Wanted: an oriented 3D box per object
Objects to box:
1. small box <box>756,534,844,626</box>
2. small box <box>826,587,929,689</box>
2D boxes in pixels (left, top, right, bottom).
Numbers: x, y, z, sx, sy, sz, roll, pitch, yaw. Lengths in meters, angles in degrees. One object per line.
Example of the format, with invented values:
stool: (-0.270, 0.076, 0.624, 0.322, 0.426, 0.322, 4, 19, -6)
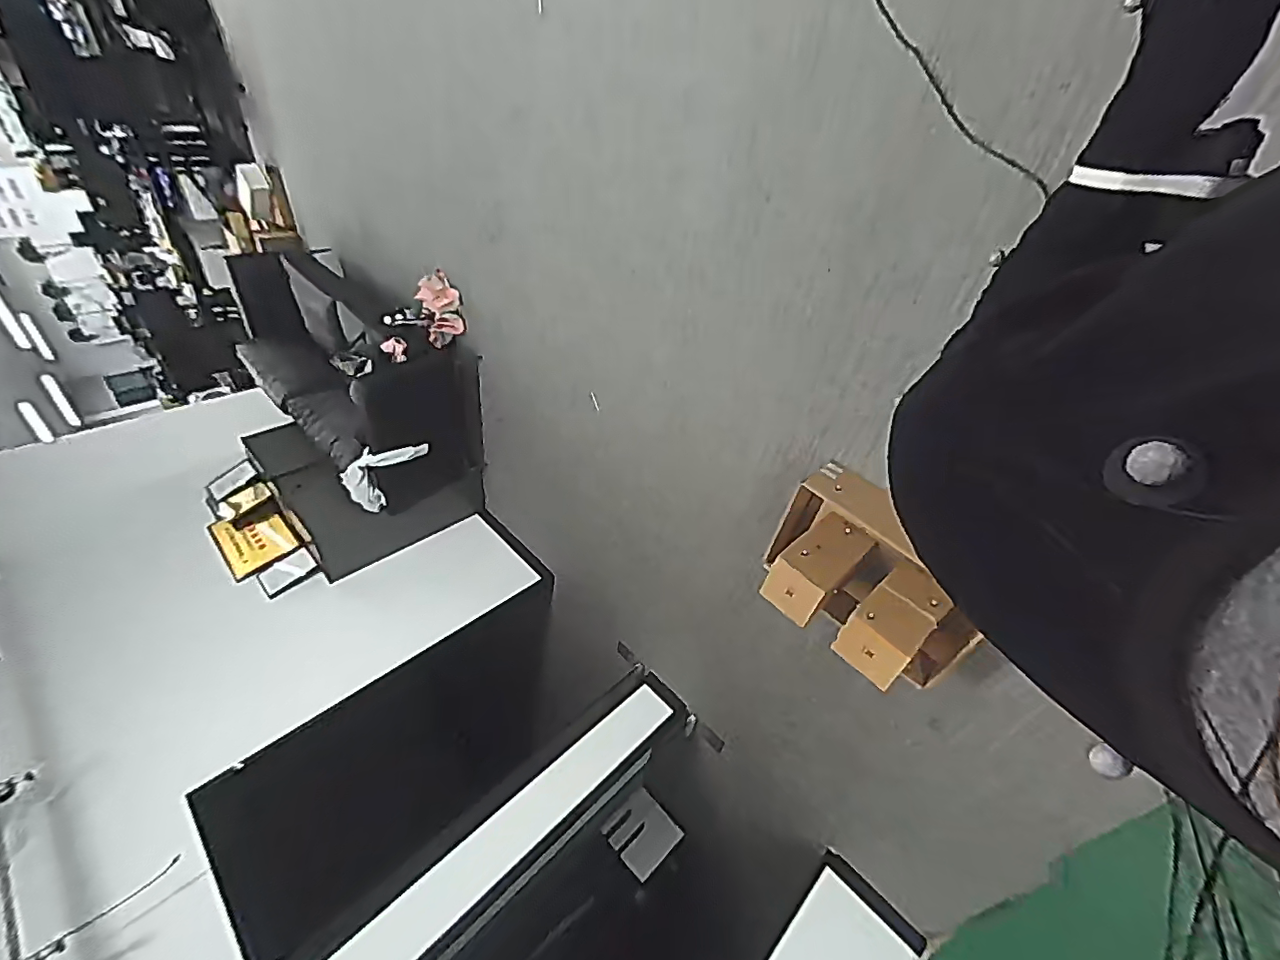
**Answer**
small box: (0.483, 0.292, 1.619, 0.168, 0.176, 0.179, 40, 137, 27)
small box: (0.659, 0.431, 1.497, 0.179, 0.176, 0.168, 39, 137, 30)
